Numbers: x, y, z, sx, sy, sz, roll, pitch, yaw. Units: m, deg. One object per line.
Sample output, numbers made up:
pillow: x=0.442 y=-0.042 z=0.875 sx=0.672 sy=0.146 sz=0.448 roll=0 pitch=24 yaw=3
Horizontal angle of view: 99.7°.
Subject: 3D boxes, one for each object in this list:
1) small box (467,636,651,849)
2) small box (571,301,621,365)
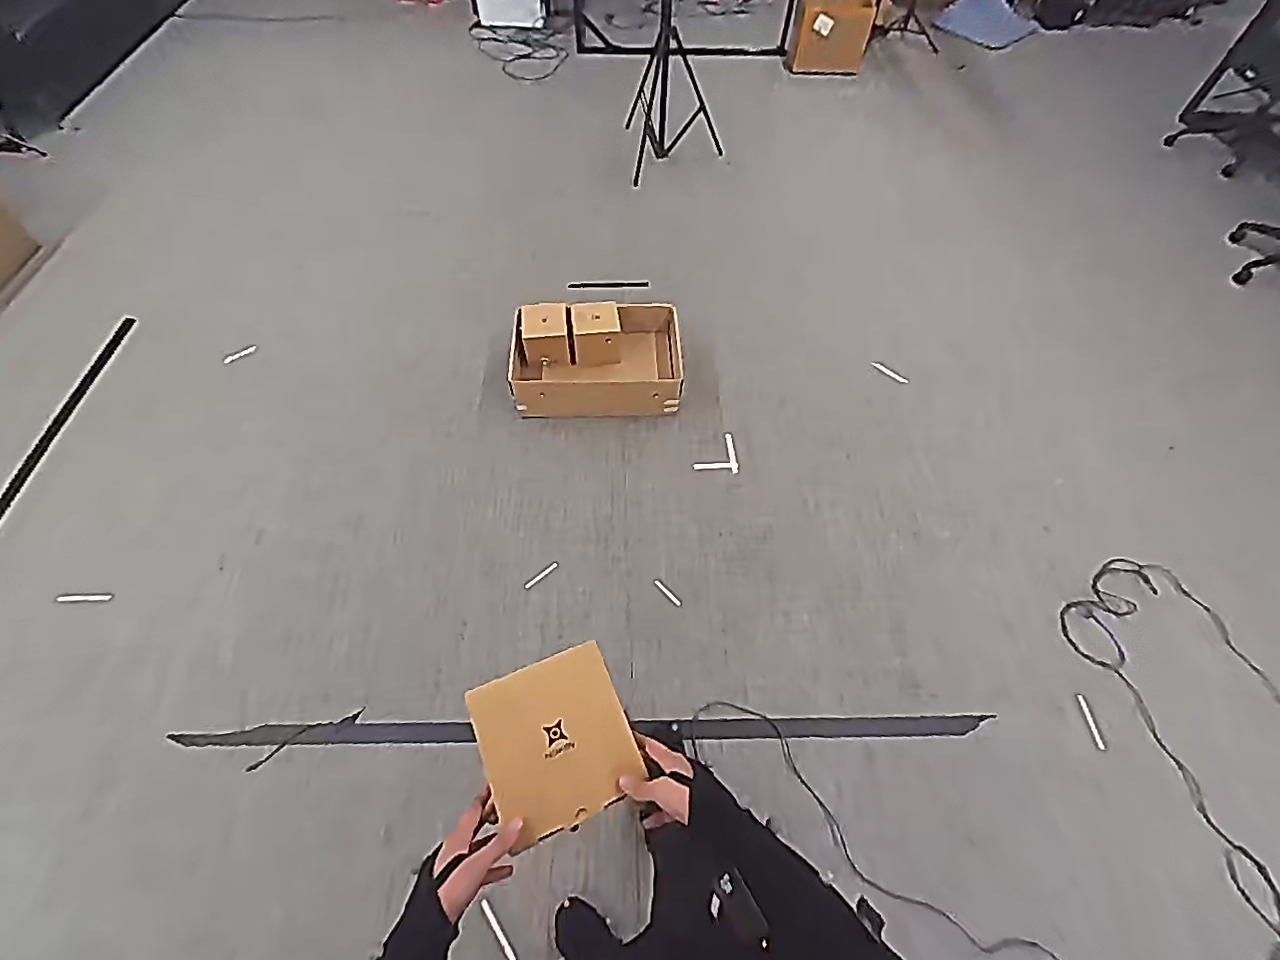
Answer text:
small box: x=-0.103 y=0.325 z=0.679 sx=0.168 sy=0.176 sz=0.179 roll=-19 pitch=65 yaw=-17
small box: x=-0.168 y=-0.559 z=2.068 sx=0.179 sy=0.176 sz=0.168 roll=-6 pitch=59 yaw=-6
